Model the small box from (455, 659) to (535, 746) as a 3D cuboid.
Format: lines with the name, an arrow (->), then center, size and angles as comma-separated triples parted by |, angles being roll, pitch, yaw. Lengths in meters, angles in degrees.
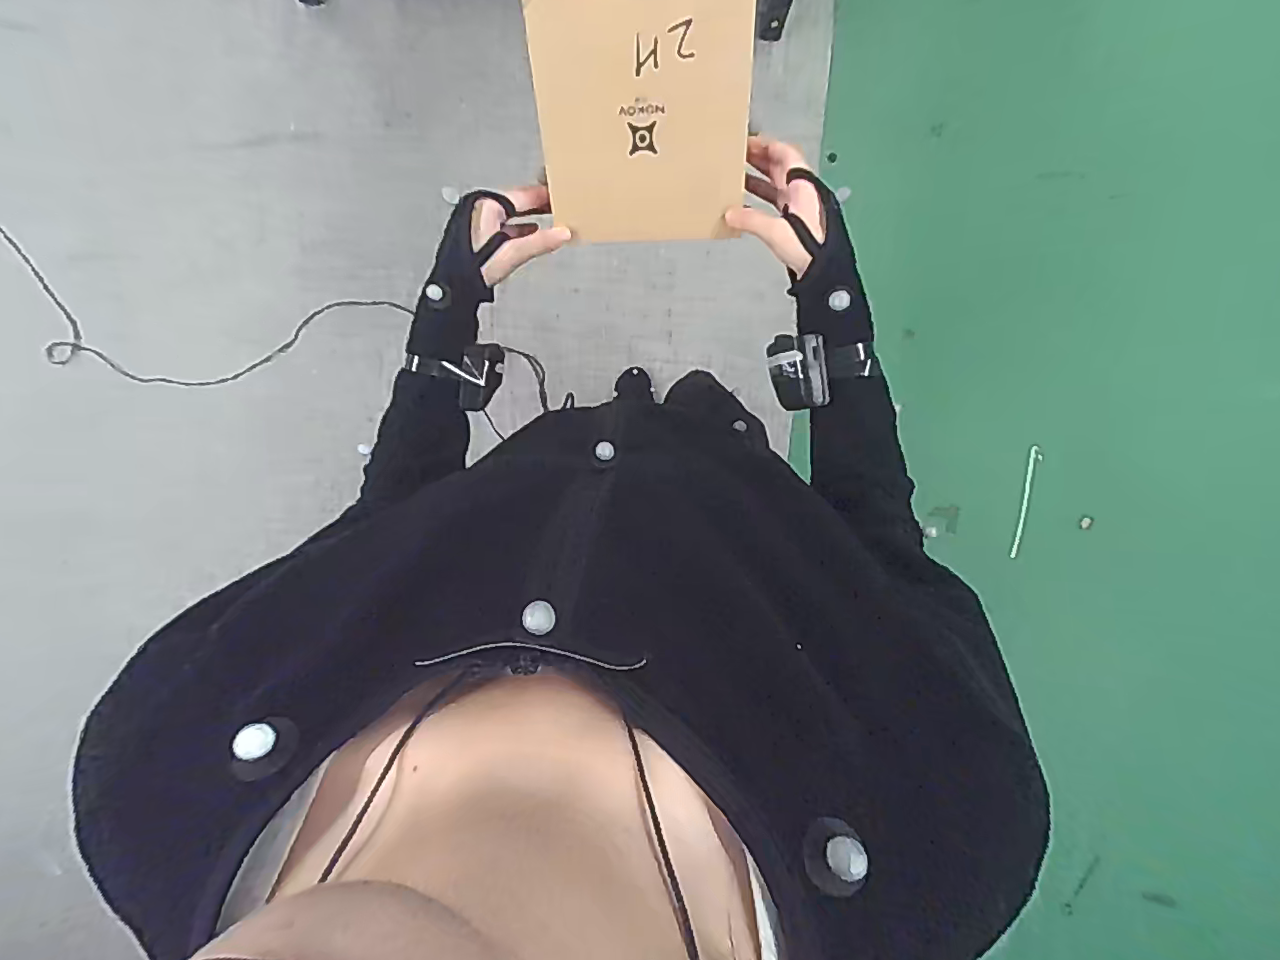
small box -> -0.394, 0.614, 1.506 | 0.179, 0.176, 0.168 | -1, 98, 4

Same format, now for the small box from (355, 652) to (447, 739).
small box -> -0.659, 0.597, 1.517 | 0.179, 0.176, 0.168 | -5, 98, 4

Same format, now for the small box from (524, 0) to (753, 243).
small box -> 0.005, -0.331, 0.490 | 0.168, 0.176, 0.179 | -1, 128, 3
